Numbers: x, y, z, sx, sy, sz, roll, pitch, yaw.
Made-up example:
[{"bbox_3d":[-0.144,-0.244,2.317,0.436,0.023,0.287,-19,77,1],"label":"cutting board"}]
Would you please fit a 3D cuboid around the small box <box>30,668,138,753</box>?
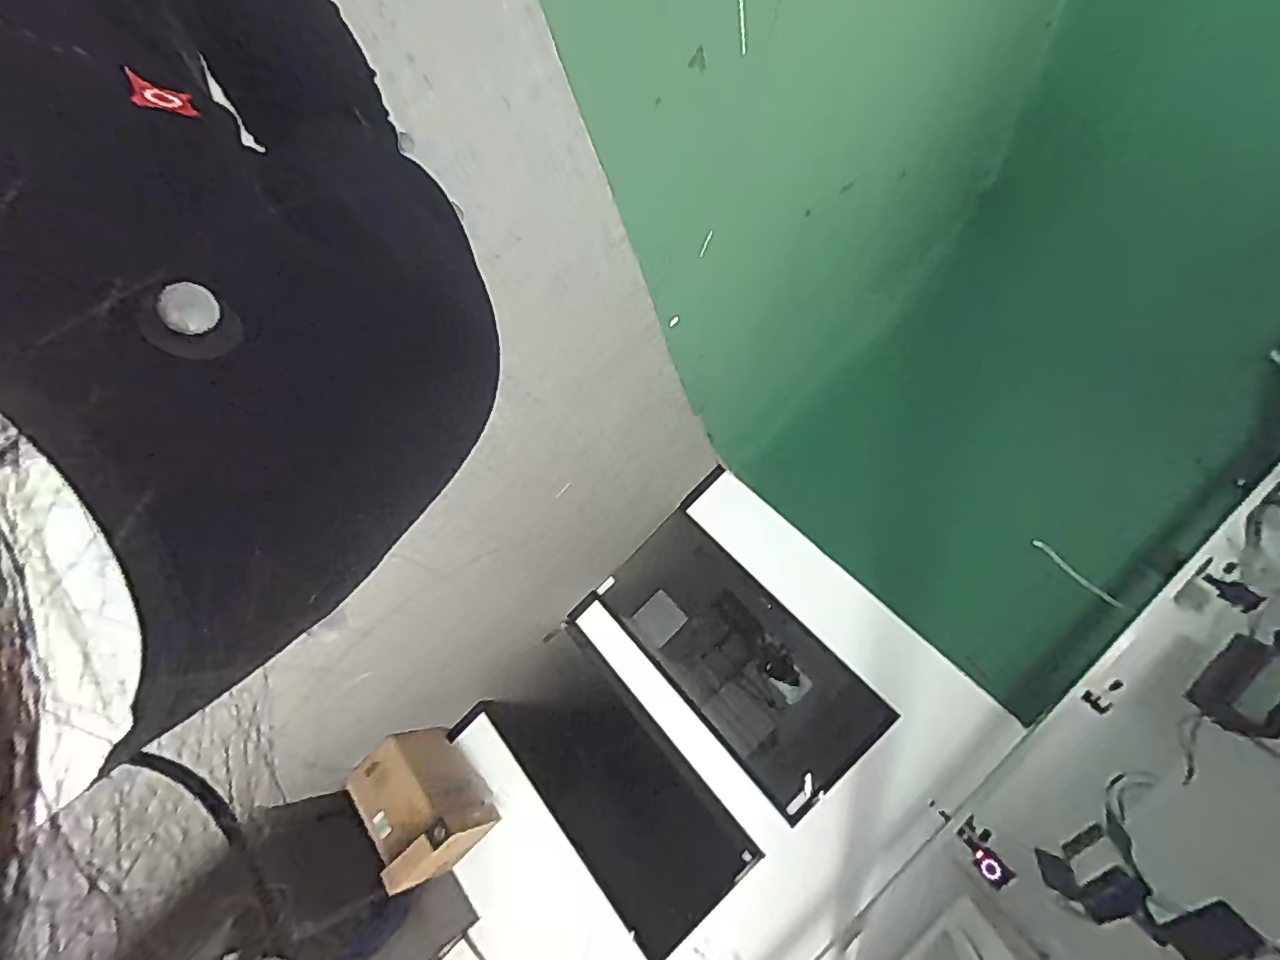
[{"bbox_3d":[-1.741,0.713,1.689,0.179,0.176,0.168,-45,156,-1],"label":"small box"}]
